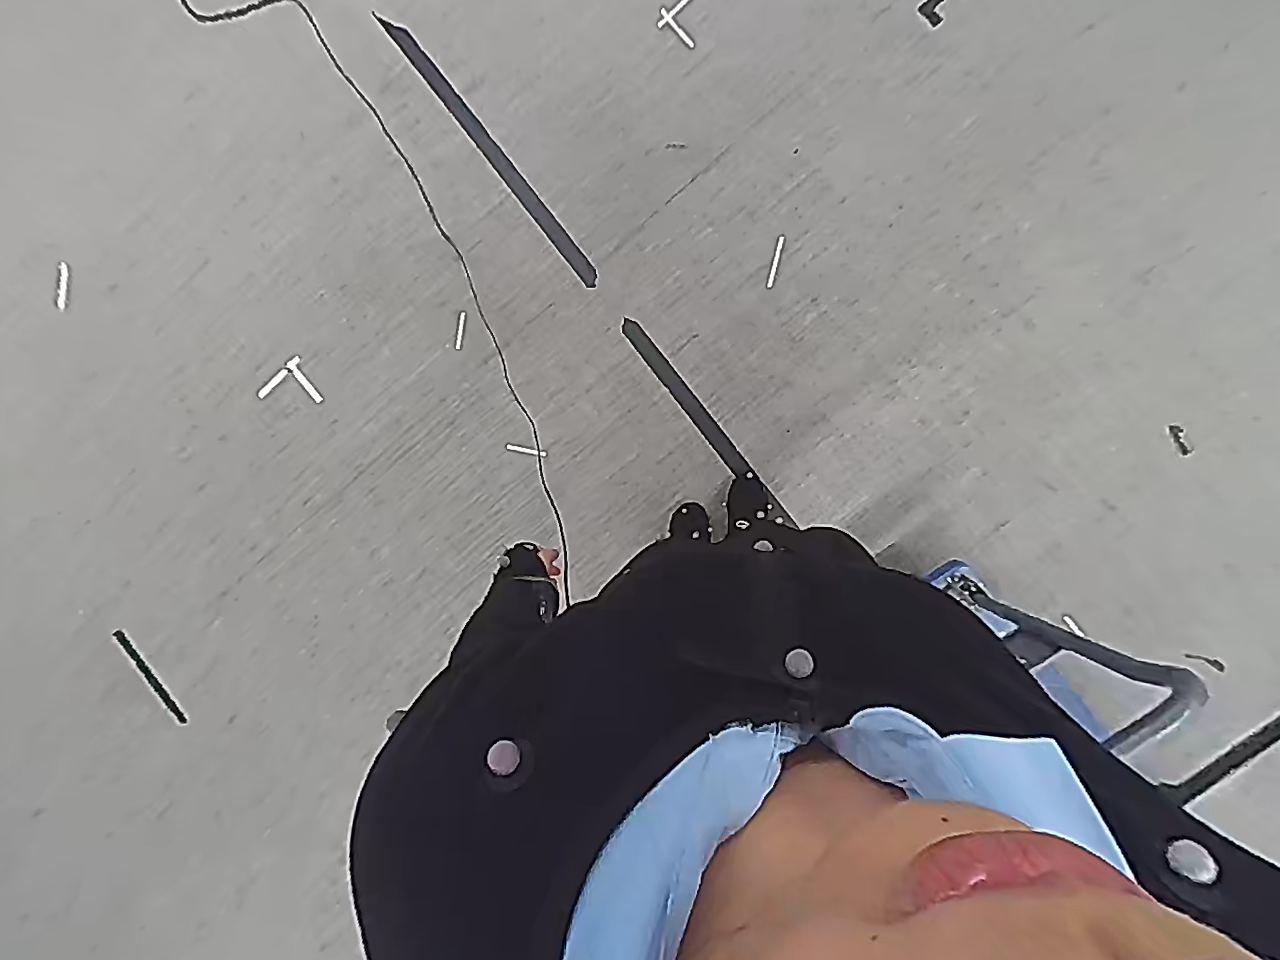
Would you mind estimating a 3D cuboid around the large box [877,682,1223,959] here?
[{"bbox_3d":[0.788,0.703,1.116,0.408,0.320,0.320,-38,88,5],"label":"large box"}]
